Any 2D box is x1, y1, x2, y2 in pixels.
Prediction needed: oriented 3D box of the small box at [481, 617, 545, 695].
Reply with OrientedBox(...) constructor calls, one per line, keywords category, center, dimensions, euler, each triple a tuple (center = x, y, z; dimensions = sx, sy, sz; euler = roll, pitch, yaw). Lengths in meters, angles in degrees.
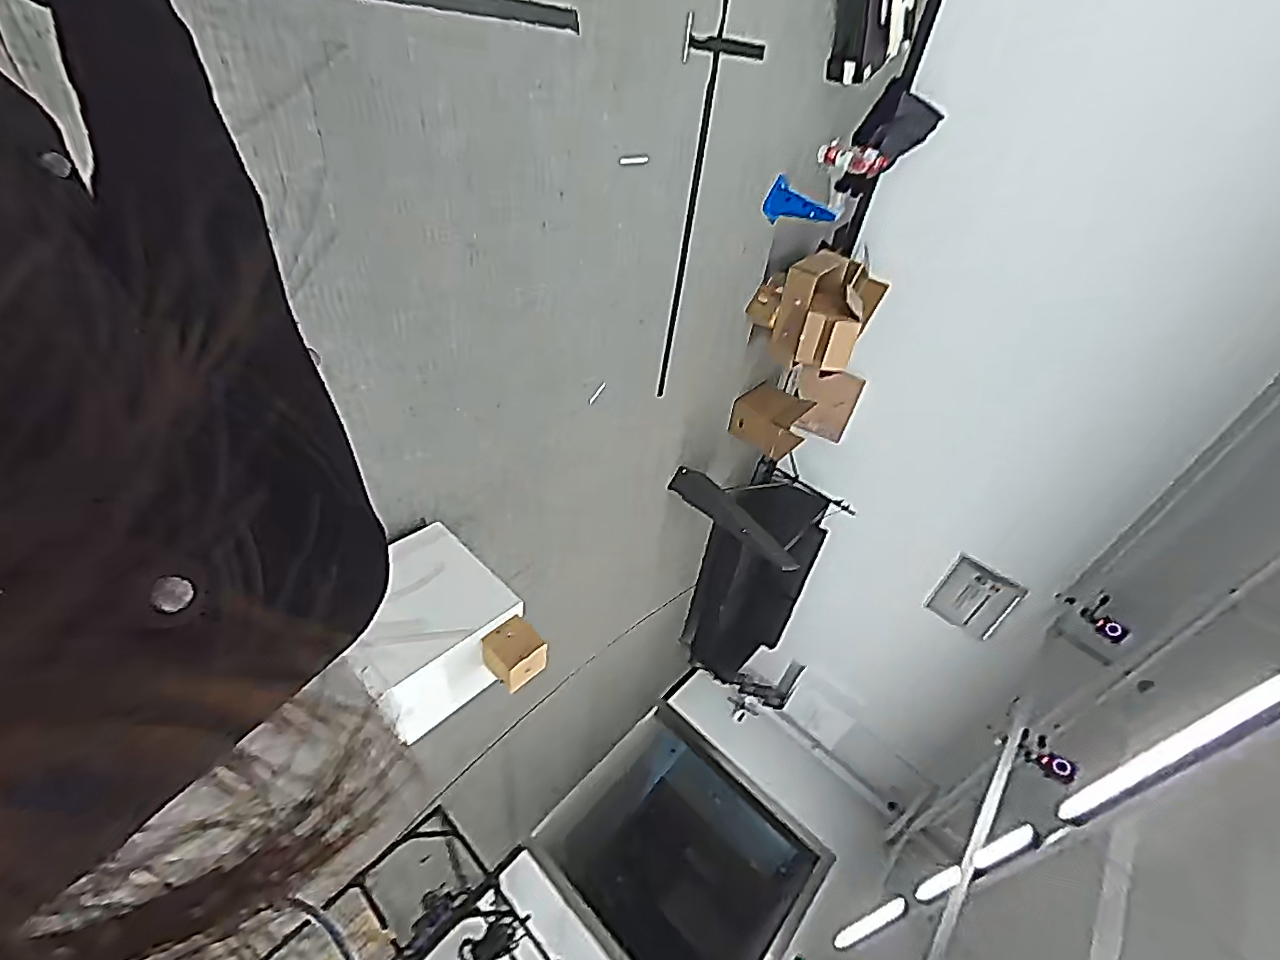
OrientedBox(category="small box", center=(-0.467, 0.641, 1.983), dimensions=(0.168, 0.176, 0.179), euler=(-31, 145, -38))
